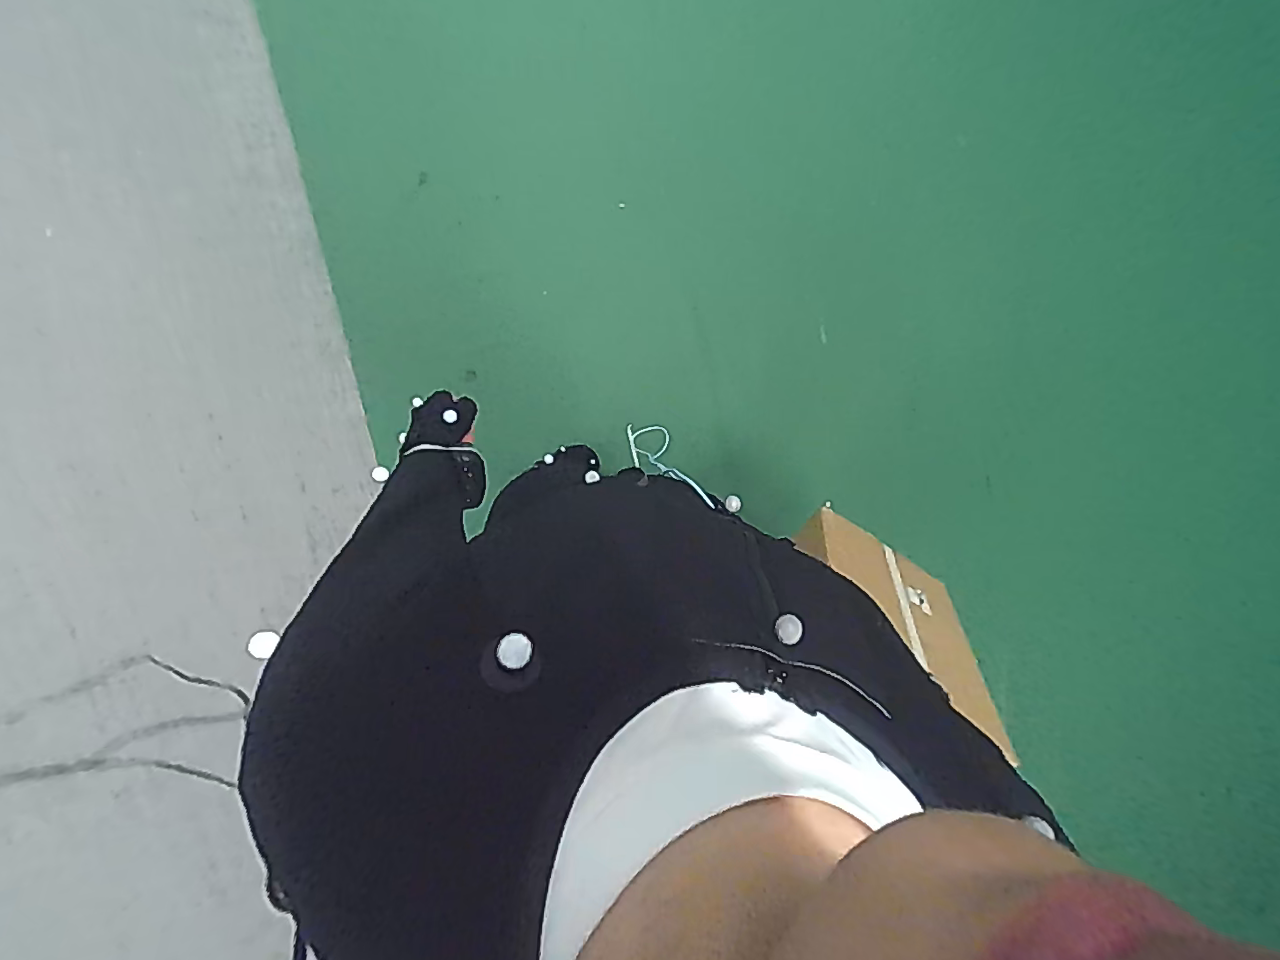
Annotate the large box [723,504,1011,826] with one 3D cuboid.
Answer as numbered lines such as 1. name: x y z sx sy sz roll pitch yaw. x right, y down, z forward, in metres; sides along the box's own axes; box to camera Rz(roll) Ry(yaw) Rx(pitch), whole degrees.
1. large box: 0.373 0.326 1.007 0.320 0.408 0.320 32 120 -5
